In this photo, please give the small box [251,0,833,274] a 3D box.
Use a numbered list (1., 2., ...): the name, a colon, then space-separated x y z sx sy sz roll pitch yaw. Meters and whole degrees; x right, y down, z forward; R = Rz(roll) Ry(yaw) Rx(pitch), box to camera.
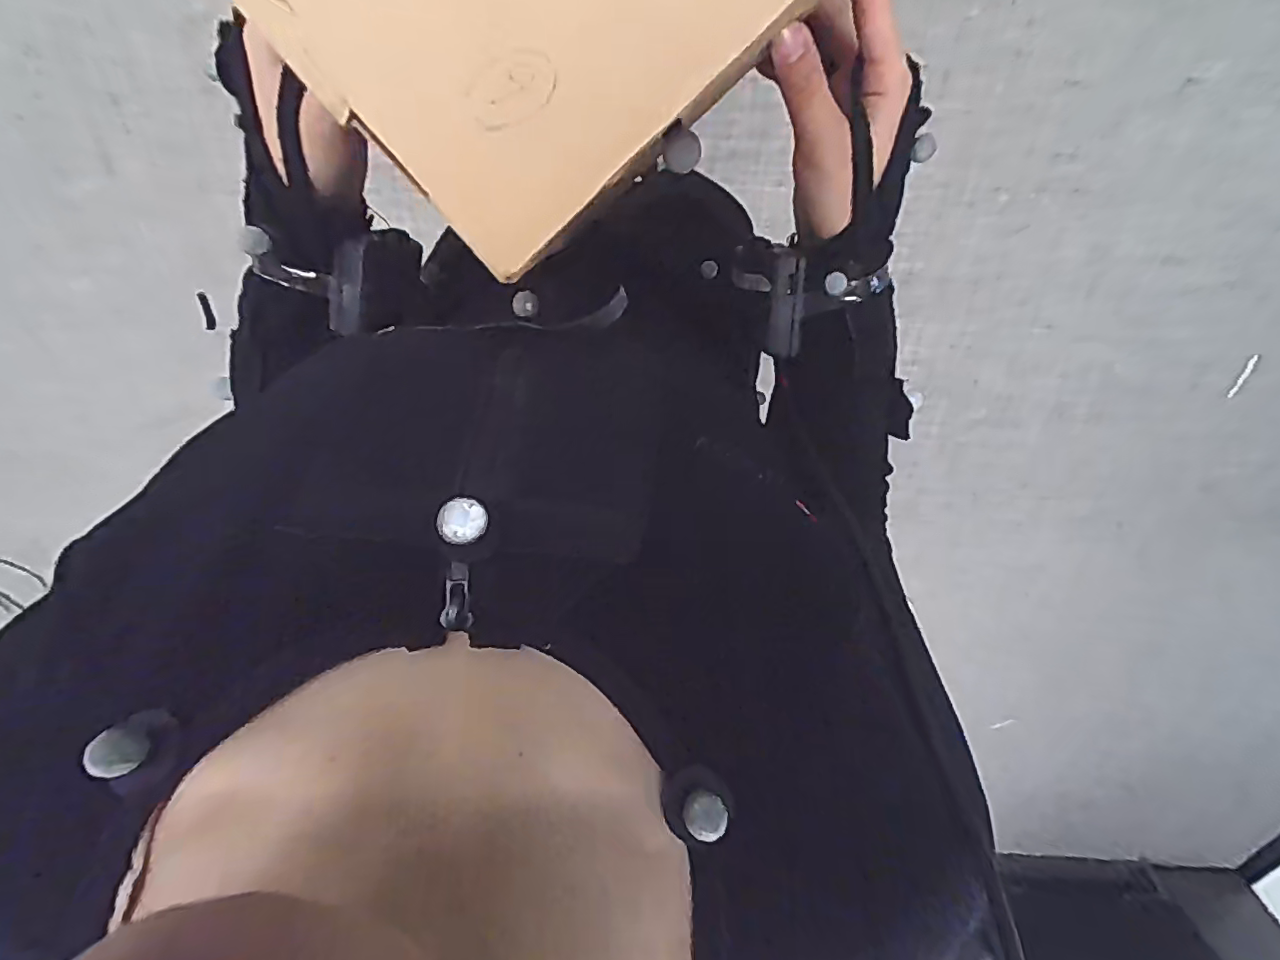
1. small box: -0.026 -0.203 0.189 0.179 0.176 0.168 -35 112 18
